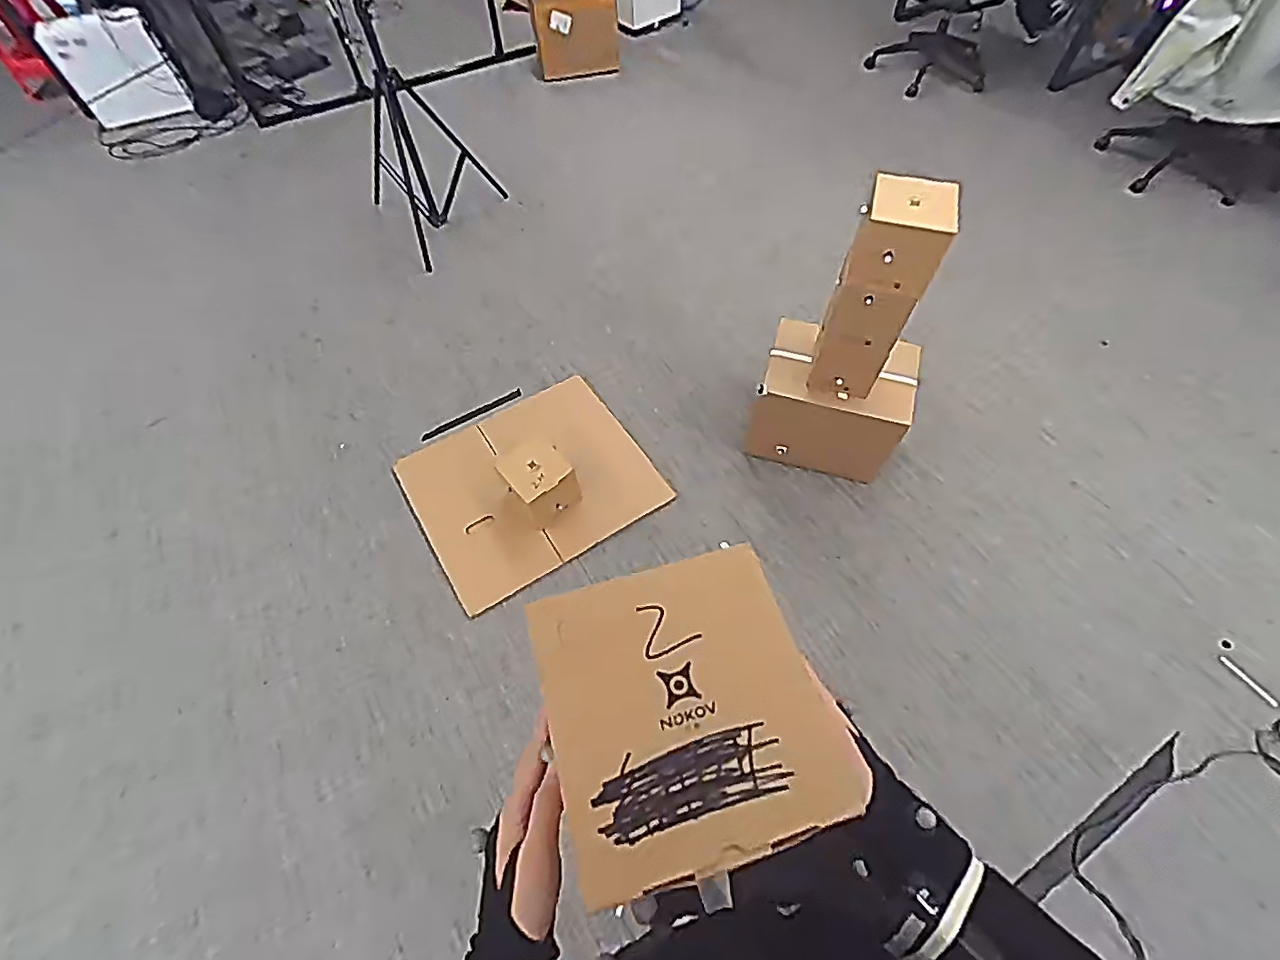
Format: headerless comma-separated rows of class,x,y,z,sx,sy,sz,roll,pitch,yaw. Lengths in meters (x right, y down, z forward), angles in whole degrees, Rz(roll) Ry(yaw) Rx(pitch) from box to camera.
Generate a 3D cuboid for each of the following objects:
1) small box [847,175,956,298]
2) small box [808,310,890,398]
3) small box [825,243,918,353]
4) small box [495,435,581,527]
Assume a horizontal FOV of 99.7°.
small box,0.560,-0.522,1.171,0.168,0.176,0.179,14,59,10
small box,0.561,-0.351,1.450,0.168,0.176,0.179,14,60,10
small box,0.559,-0.439,1.312,0.168,0.176,0.179,14,59,10
small box,-0.295,0.007,1.595,0.168,0.176,0.179,-38,65,-17
